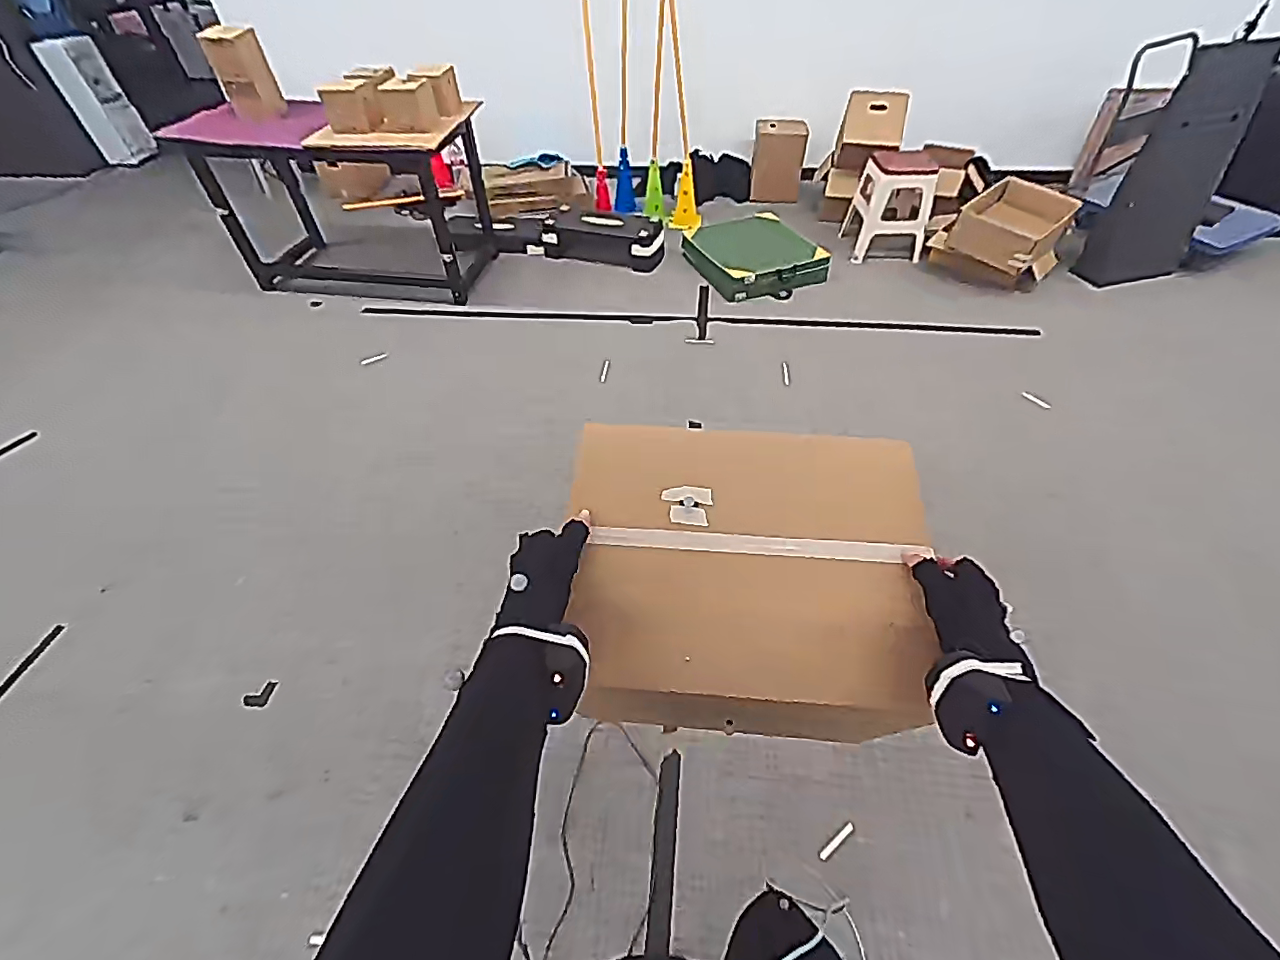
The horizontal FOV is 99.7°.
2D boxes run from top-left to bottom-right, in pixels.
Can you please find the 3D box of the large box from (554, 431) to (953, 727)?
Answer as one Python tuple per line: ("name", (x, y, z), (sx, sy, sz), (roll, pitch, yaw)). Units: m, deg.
("large box", (0.126, 0.149, 0.740), (0.408, 0.320, 0.320), (3, 59, 4))
